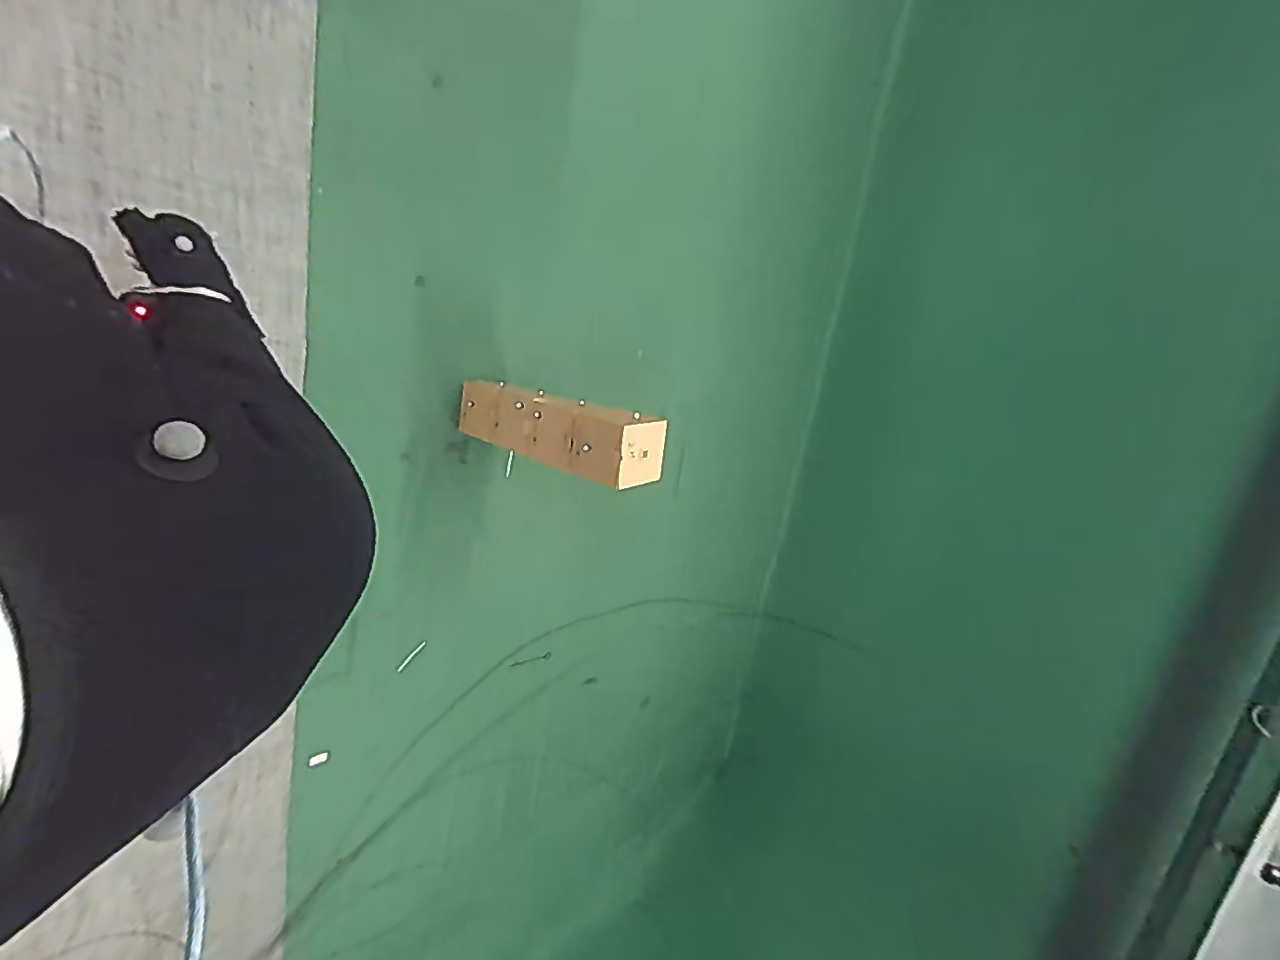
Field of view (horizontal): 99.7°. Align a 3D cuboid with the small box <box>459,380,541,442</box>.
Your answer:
[{"bbox_3d":[-0.441,-0.219,1.707,0.179,0.176,0.168,-4,108,-50],"label":"small box"}]

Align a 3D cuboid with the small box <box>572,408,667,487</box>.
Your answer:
[{"bbox_3d":[-0.055,-0.092,1.426,0.179,0.176,0.168,-13,115,-48],"label":"small box"}]

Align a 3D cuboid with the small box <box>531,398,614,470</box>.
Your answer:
[{"bbox_3d":[-0.186,-0.133,1.518,0.179,0.176,0.168,-12,115,-49],"label":"small box"}]
